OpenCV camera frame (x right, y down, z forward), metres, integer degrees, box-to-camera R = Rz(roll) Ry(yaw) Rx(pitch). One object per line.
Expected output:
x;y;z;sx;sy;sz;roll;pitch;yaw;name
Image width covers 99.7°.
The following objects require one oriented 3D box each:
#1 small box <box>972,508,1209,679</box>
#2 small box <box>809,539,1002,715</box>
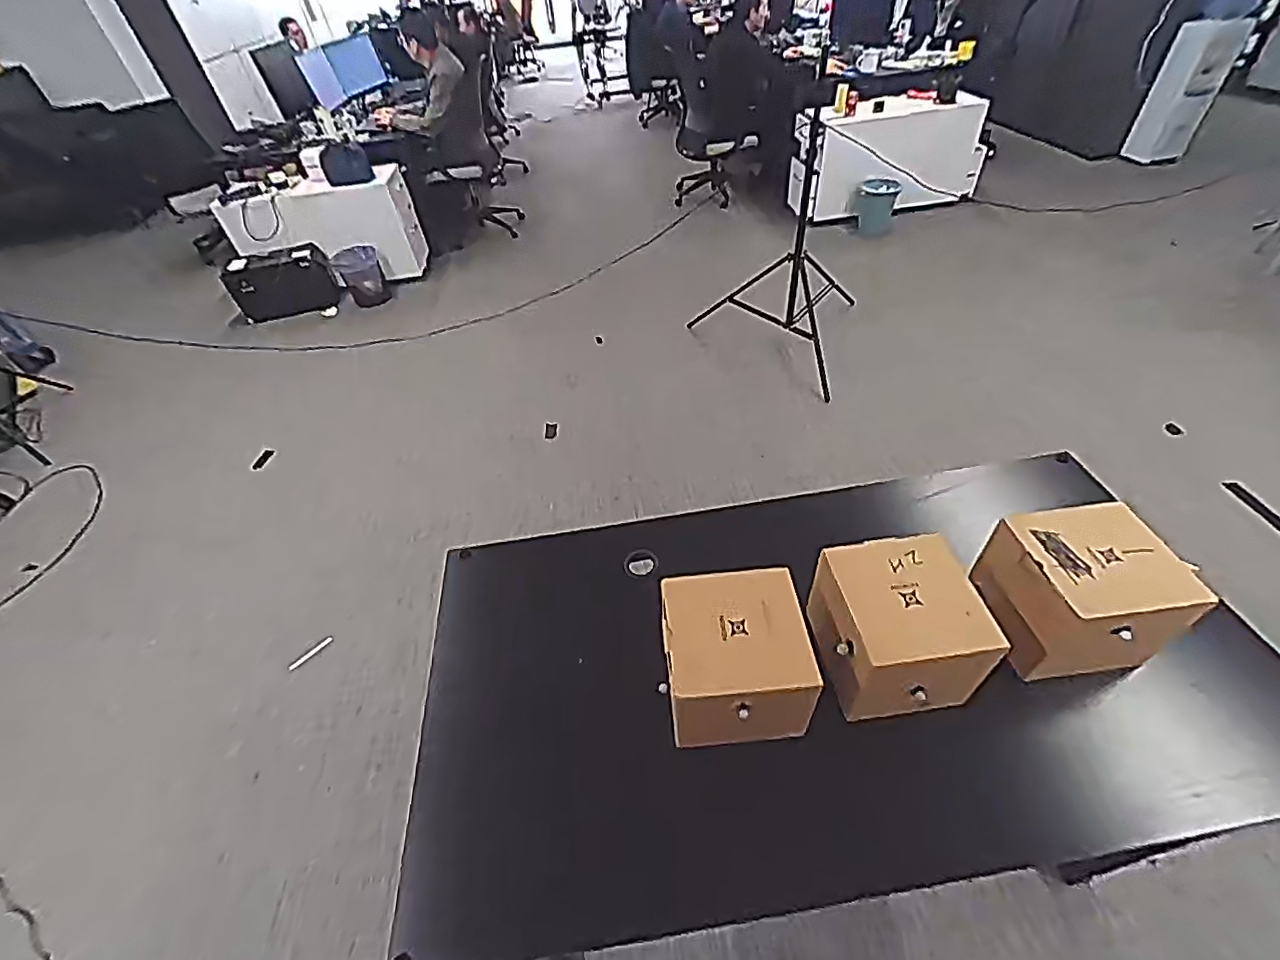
0.606;0.163;0.765;0.179;0.176;0.168;-7;45;-1;small box
0.349;0.209;0.752;0.168;0.176;0.179;-8;45;-1;small box
